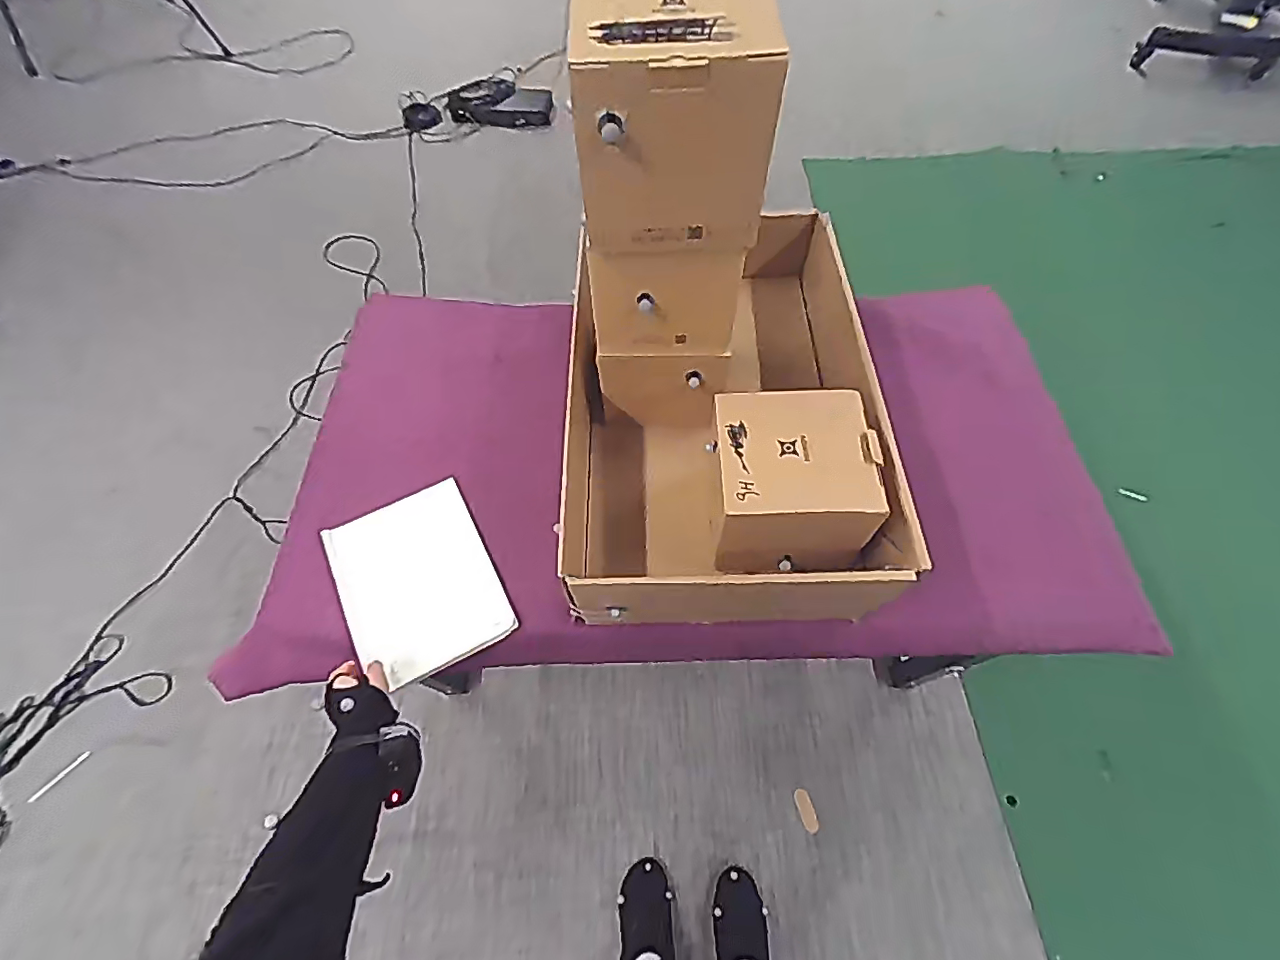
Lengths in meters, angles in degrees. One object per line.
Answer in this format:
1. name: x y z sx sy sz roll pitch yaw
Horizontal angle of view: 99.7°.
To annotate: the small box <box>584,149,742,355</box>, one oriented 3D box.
1. small box: 0.029 -0.270 0.661 0.168 0.176 0.179 0 61 2
